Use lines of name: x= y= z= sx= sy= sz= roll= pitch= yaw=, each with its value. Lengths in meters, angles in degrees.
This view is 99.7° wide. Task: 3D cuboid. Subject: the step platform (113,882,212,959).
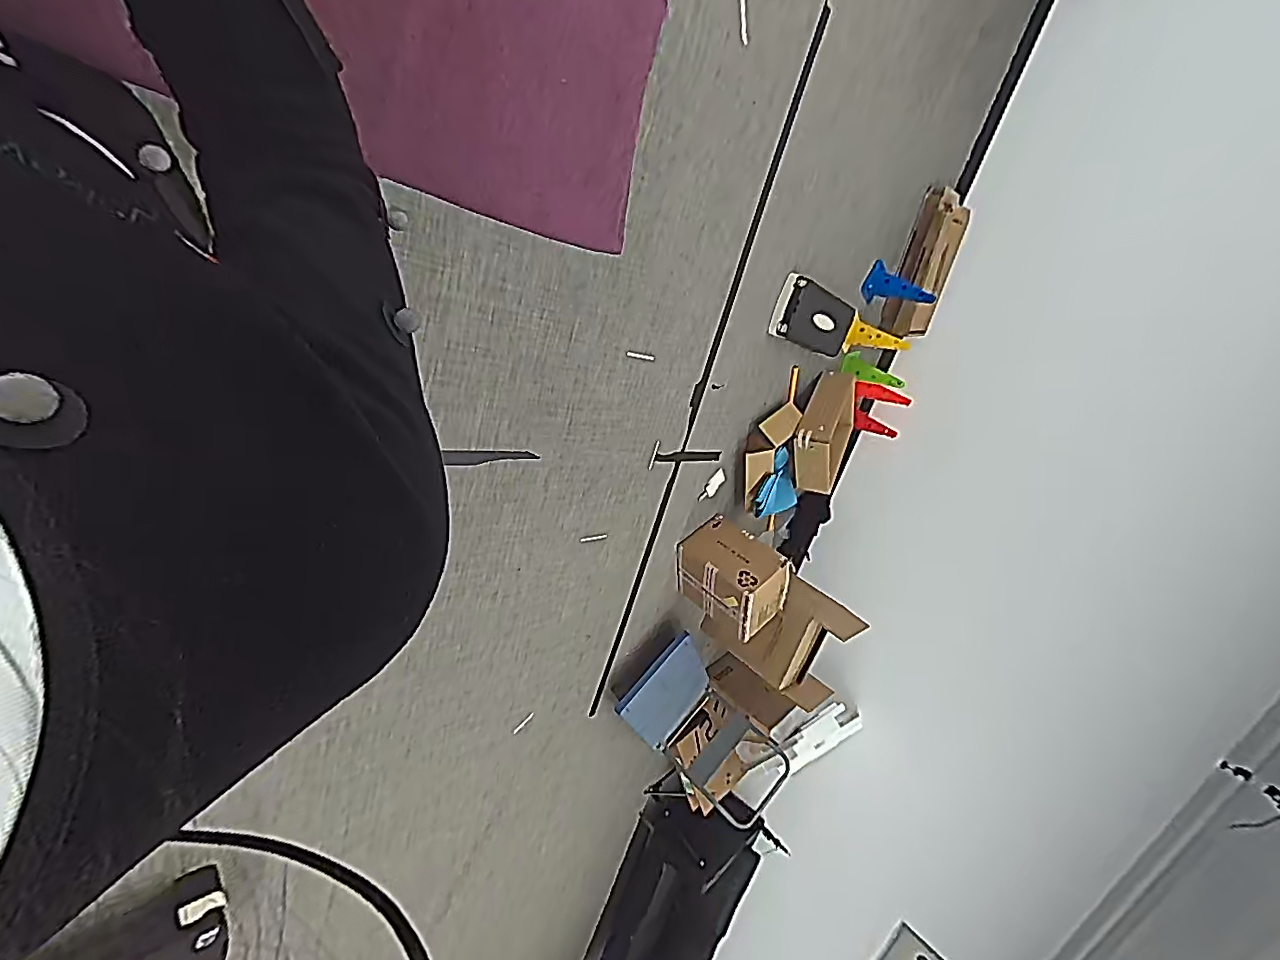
step platform: x=-1.550 y=1.401 z=1.407 sx=0.684 sy=0.204 sz=0.286 roll=-6 pitch=120 yaw=-50
